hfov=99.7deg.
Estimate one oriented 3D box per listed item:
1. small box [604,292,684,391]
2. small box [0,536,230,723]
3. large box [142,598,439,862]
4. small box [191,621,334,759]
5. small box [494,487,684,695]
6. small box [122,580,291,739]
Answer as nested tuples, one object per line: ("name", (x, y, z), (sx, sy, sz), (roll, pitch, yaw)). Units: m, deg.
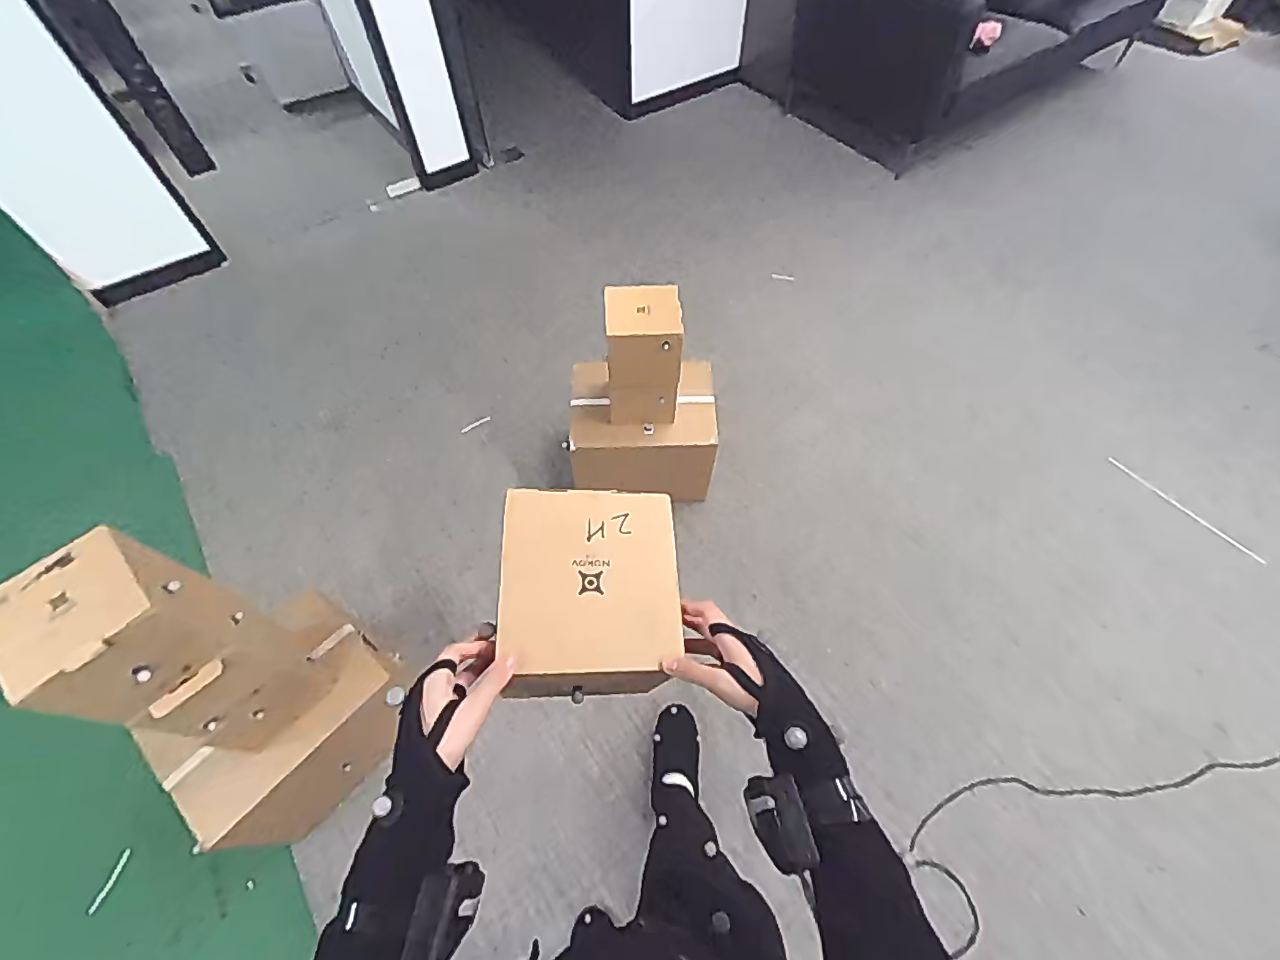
("small box", (0.007, -0.329, 1.304), (0.179, 0.176, 0.168), (-3, 57, -3))
("small box", (-0.736, 0.217, 0.761), (0.179, 0.176, 0.168), (40, 65, 21))
("large box", (-0.749, 0.553, 1.226), (0.320, 0.320, 0.408), (35, 65, 22))
("small box", (-0.734, 0.402, 1.032), (0.168, 0.176, 0.179), (39, 65, 21))
("small box", (-0.058, 0.125, 0.567), (0.168, 0.176, 0.179), (3, 60, -11))
("small box", (-0.730, 0.305, 0.900), (0.168, 0.176, 0.179), (-40, 66, -22))
